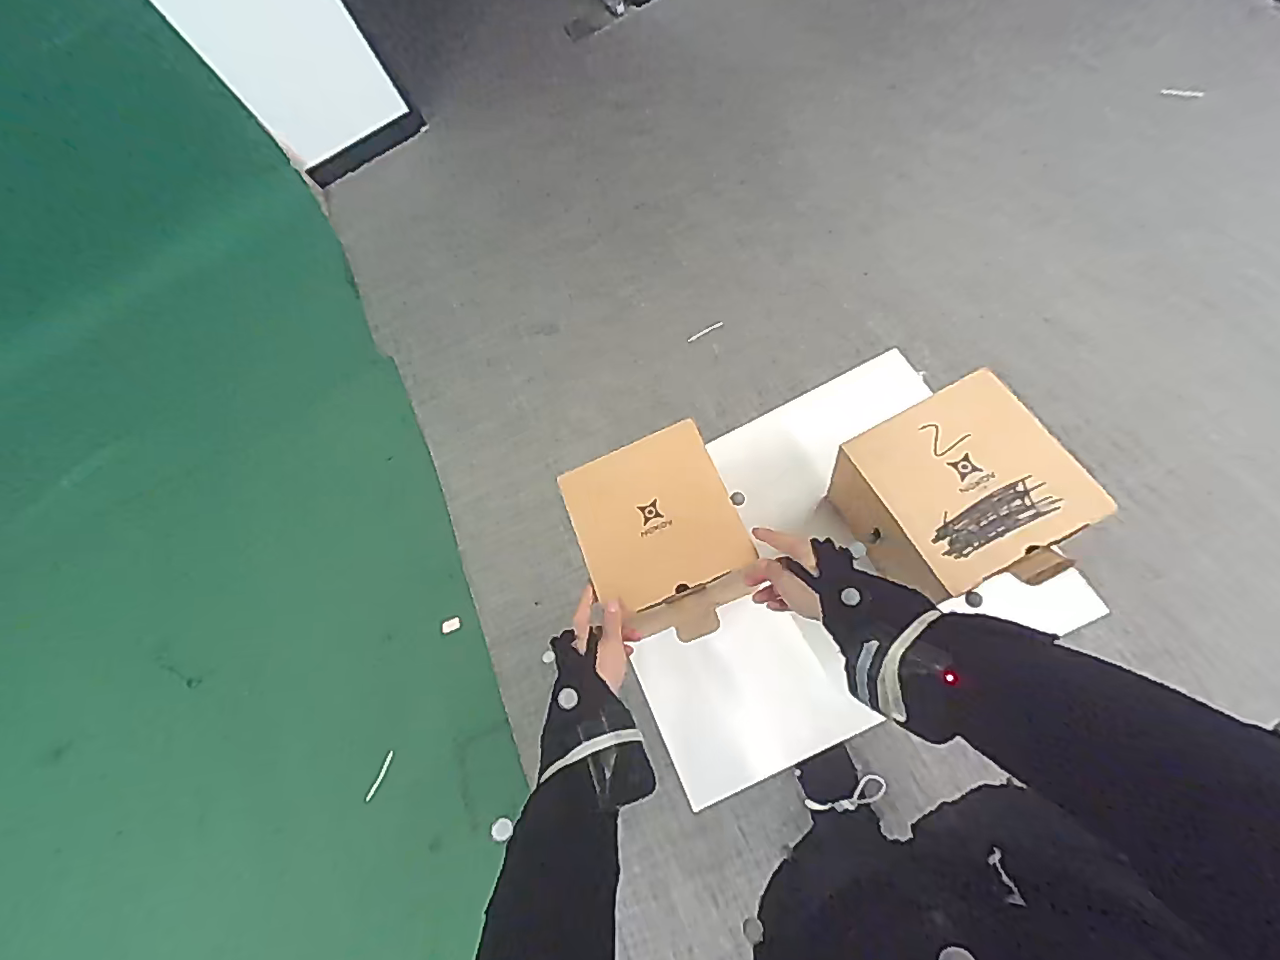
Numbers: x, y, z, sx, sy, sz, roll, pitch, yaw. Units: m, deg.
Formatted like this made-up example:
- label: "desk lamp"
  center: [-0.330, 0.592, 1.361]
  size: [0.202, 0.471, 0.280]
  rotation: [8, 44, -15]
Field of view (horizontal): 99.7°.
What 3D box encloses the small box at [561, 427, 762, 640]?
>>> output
- label: "small box"
  center: [0.029, 0.072, 0.634]
  size: [0.168, 0.176, 0.179]
  rotation: [-23, 67, 2]
